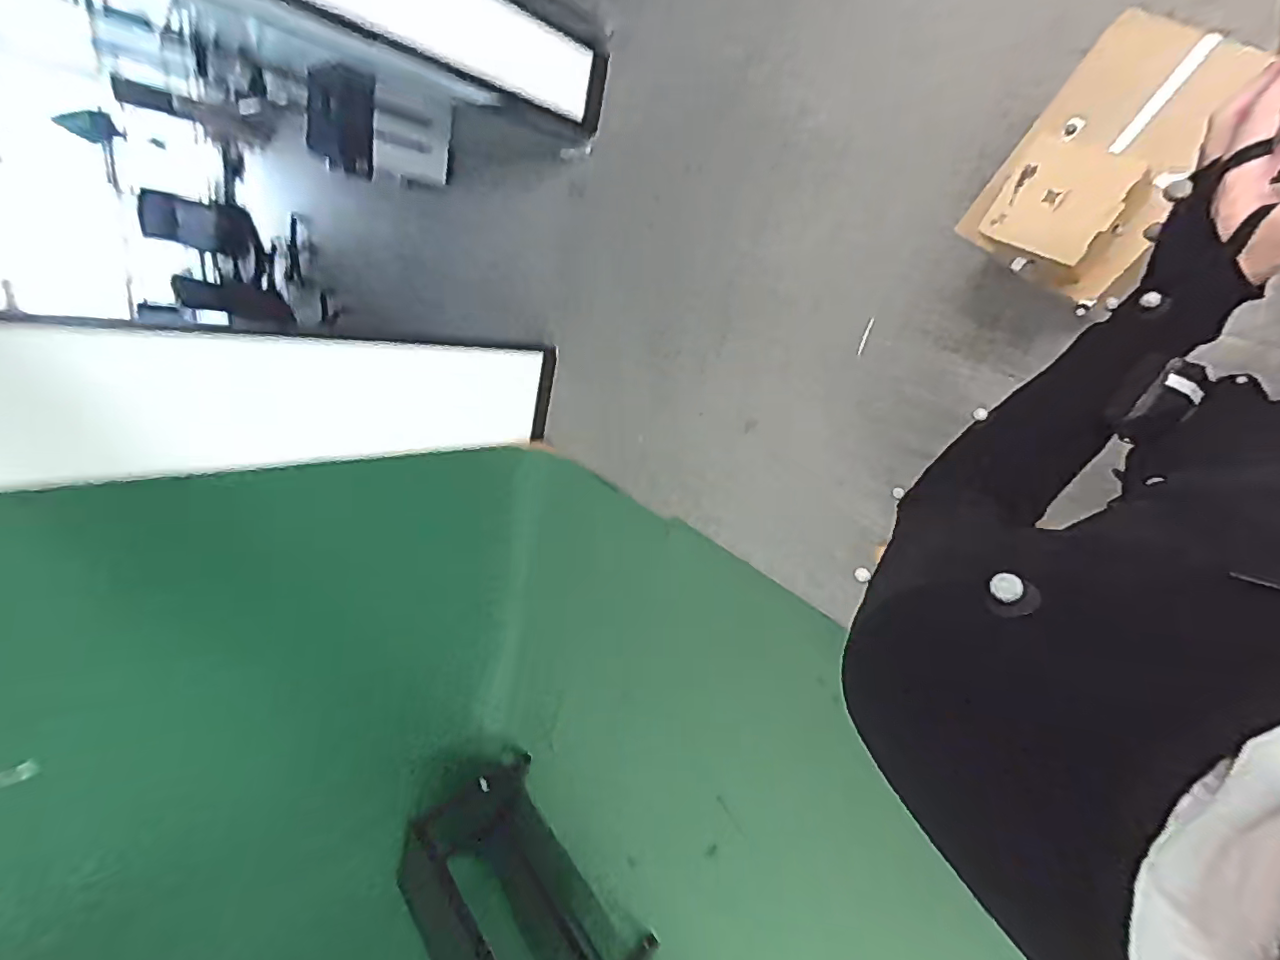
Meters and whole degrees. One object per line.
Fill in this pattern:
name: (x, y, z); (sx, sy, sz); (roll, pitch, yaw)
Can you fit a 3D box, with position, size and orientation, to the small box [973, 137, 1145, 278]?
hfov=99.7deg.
small box: (0.748, -0.477, 0.968); (0.179, 0.176, 0.168); (42, 122, 30)
